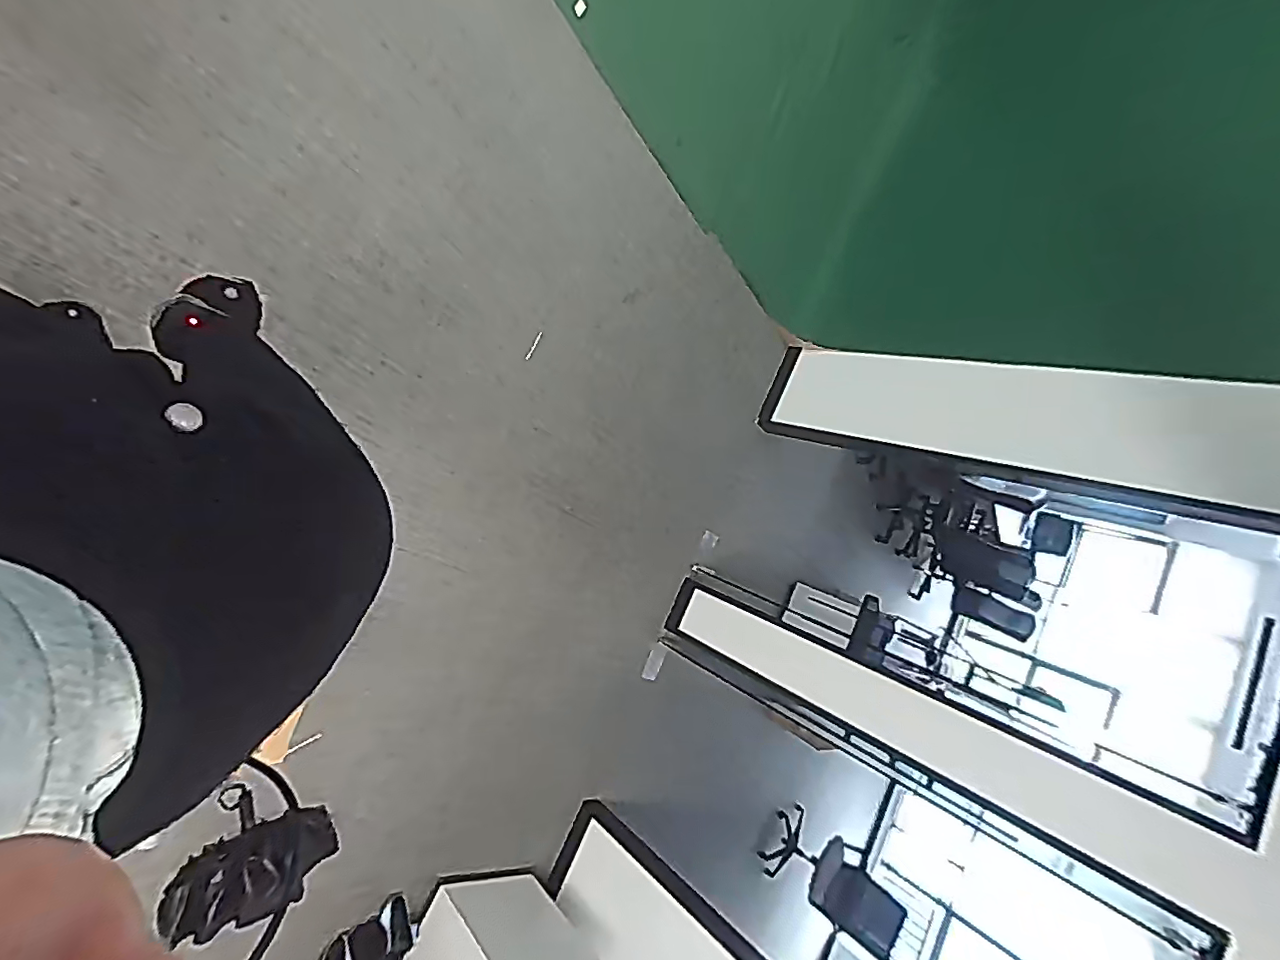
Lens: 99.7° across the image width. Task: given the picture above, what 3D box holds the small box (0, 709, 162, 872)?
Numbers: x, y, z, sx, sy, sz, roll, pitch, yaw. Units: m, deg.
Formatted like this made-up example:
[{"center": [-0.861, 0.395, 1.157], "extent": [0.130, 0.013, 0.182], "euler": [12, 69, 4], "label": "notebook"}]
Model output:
[{"center": [-0.979, 0.524, 0.940], "extent": [0.179, 0.176, 0.168], "euler": [19, 93, -50], "label": "small box"}]
